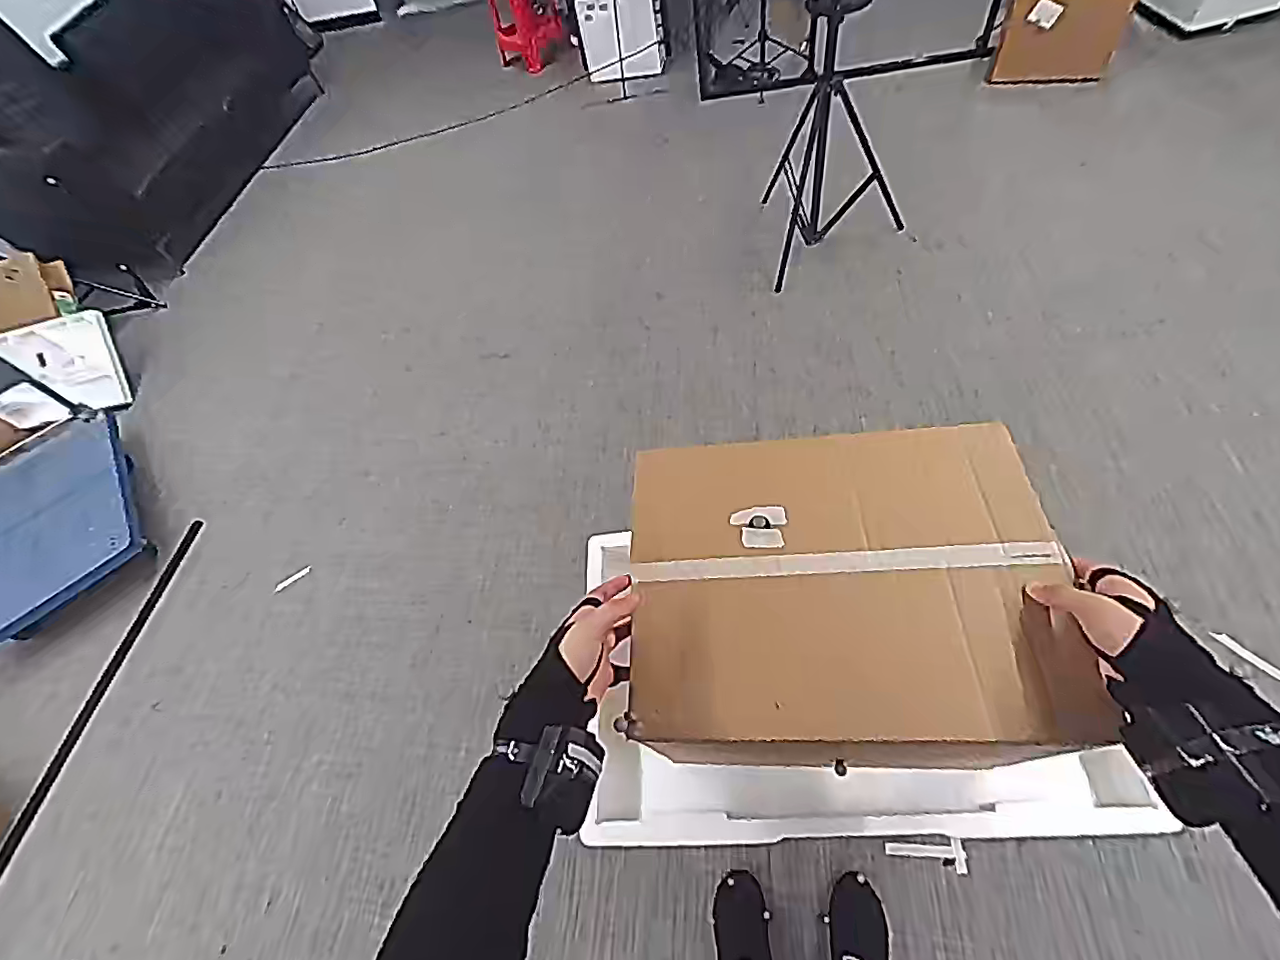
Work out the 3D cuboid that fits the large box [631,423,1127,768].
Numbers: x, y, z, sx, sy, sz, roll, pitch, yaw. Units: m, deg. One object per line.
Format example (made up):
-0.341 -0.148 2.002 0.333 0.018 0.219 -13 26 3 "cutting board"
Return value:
0.217 0.165 0.652 0.408 0.320 0.320 -5 57 10 "large box"
